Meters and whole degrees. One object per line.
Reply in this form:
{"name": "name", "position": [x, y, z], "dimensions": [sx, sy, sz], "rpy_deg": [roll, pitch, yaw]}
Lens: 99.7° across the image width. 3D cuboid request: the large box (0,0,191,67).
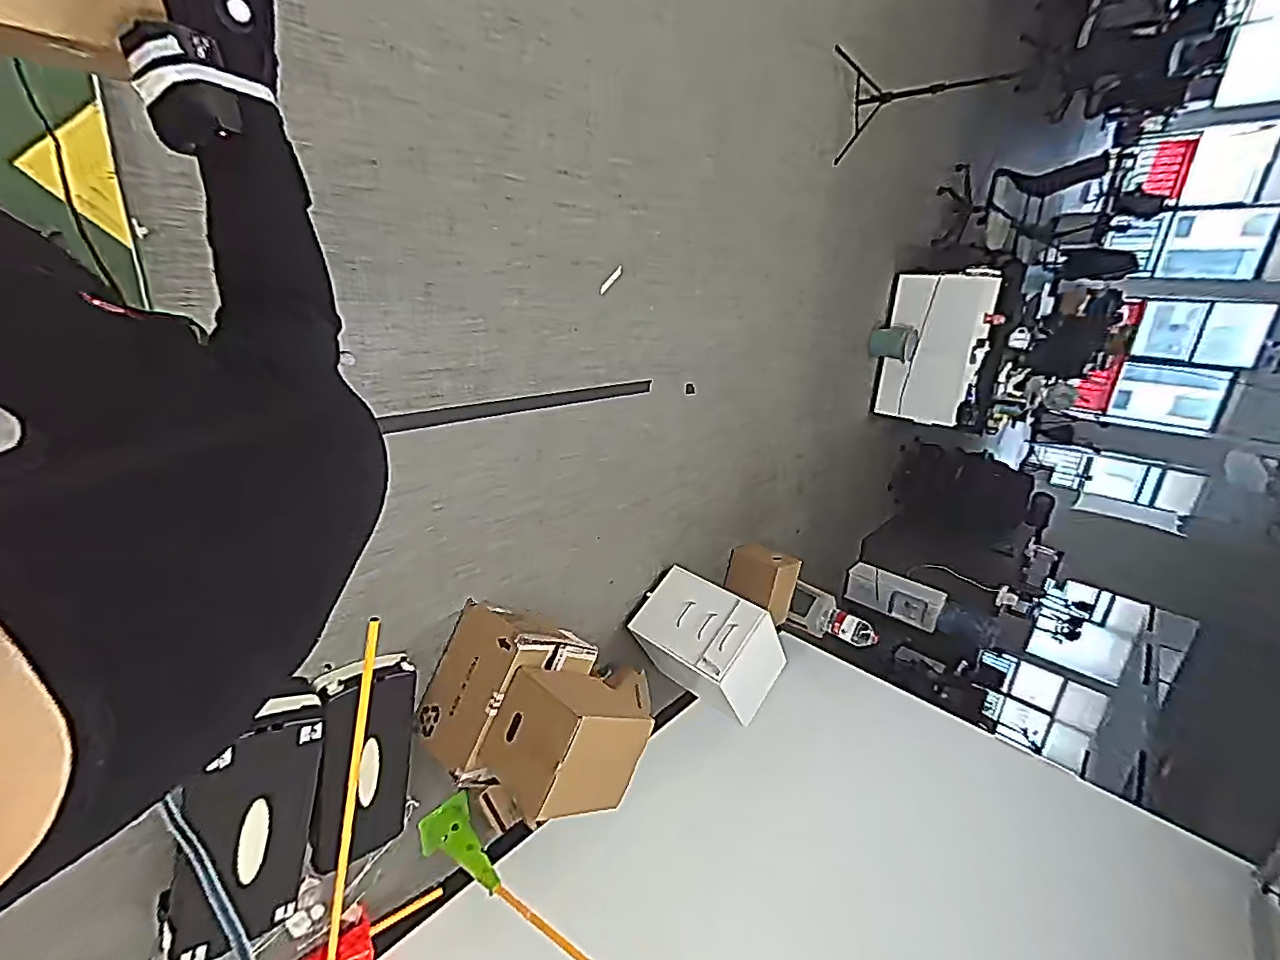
{"name": "large box", "position": [-0.570, -0.478, 0.302], "dimensions": [0.408, 0.320, 0.320], "rpy_deg": [-19, 128, -44]}
